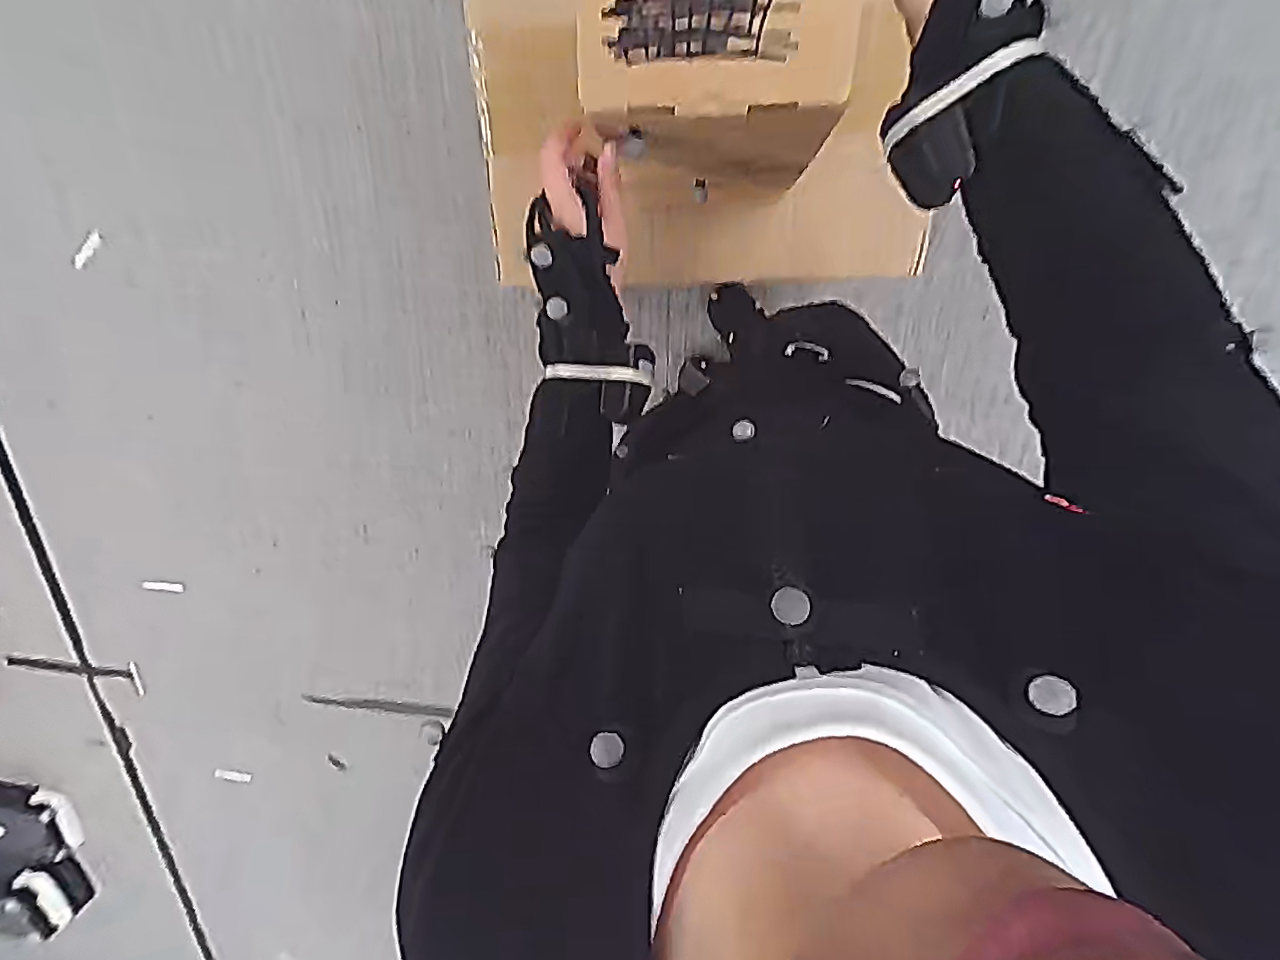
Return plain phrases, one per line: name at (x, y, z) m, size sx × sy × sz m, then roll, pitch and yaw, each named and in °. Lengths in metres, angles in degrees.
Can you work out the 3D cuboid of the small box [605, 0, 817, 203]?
small box at (0.066, -0.378, 0.535) m, size 0.179 × 0.176 × 0.168 m, roll 2°, pitch 110°, yaw 7°
